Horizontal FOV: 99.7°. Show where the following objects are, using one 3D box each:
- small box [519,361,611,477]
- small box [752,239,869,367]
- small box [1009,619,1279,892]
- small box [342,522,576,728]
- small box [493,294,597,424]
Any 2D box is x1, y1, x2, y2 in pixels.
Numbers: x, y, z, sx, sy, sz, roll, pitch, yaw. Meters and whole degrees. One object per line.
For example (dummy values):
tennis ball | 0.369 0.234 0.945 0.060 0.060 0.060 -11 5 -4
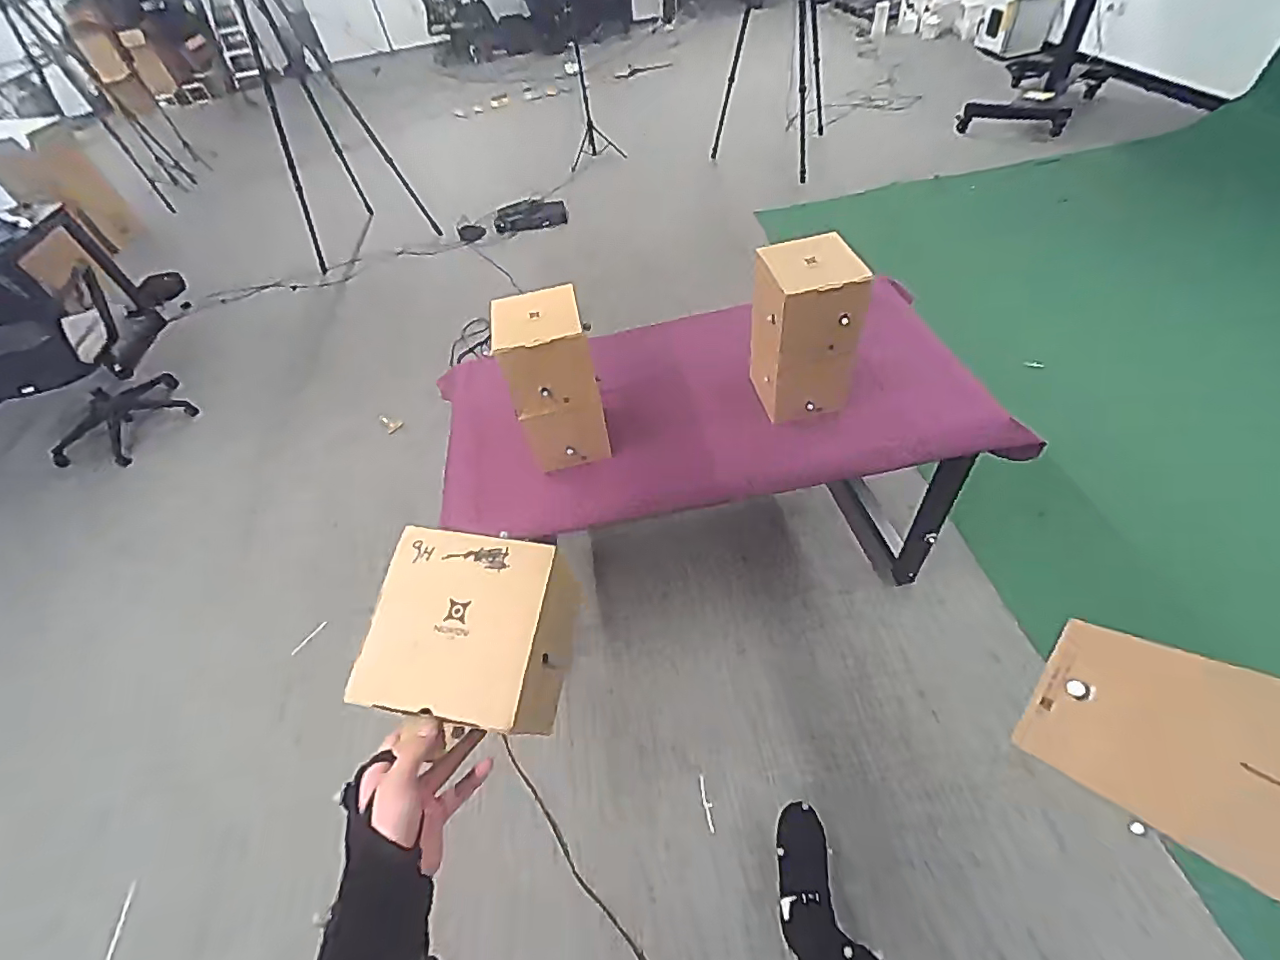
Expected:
small box | -0.166 -0.134 1.200 0.168 0.176 0.179 -13 49 0
small box | 0.327 -0.342 1.072 0.168 0.176 0.179 -12 49 0
small box | 0.547 0.266 0.563 0.179 0.176 0.168 29 86 -8
small box | -0.176 0.164 0.593 0.168 0.176 0.179 7 66 8
small box | -0.187 -0.240 1.078 0.168 0.176 0.179 -13 49 -2
